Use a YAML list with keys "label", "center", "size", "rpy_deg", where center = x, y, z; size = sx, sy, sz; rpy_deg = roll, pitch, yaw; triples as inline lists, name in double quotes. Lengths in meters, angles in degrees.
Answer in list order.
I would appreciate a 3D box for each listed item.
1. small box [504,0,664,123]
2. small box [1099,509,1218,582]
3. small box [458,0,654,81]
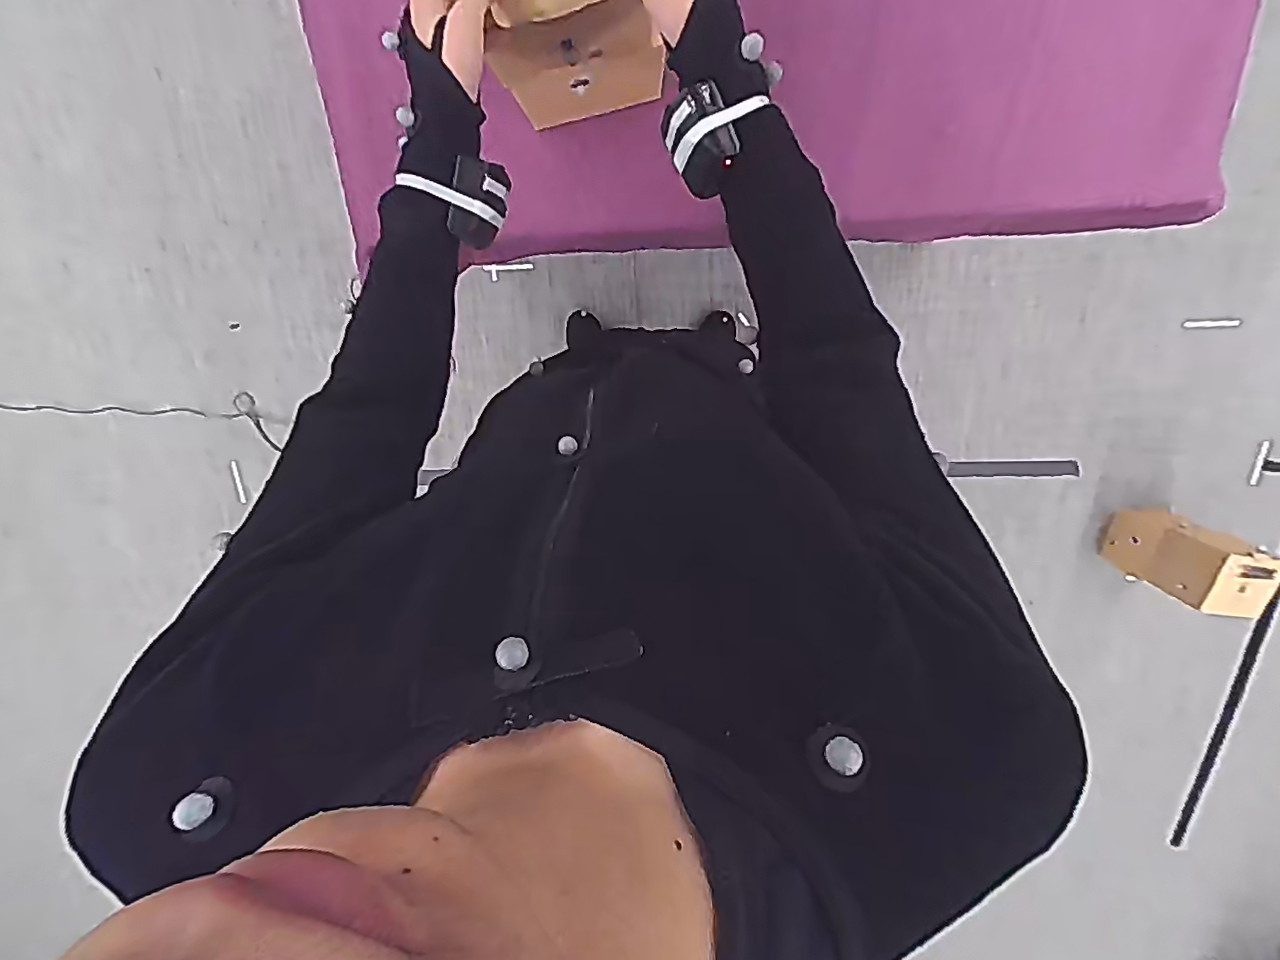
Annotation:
- label: "small box"
  center: [-0.073, -0.543, 0.624]
  size: [0.179, 0.176, 0.168]
  rpy_deg: [-12, 109, 4]
- label: "small box"
  center: [1.560, 0.193, 1.640]
  size: [0.179, 0.176, 0.168]
  rpy_deg: [2, 109, -1]
- label: "small box"
  center: [-0.085, -0.493, 0.467]
  size: [0.168, 0.176, 0.179]
  rpy_deg: [-12, 108, 5]
